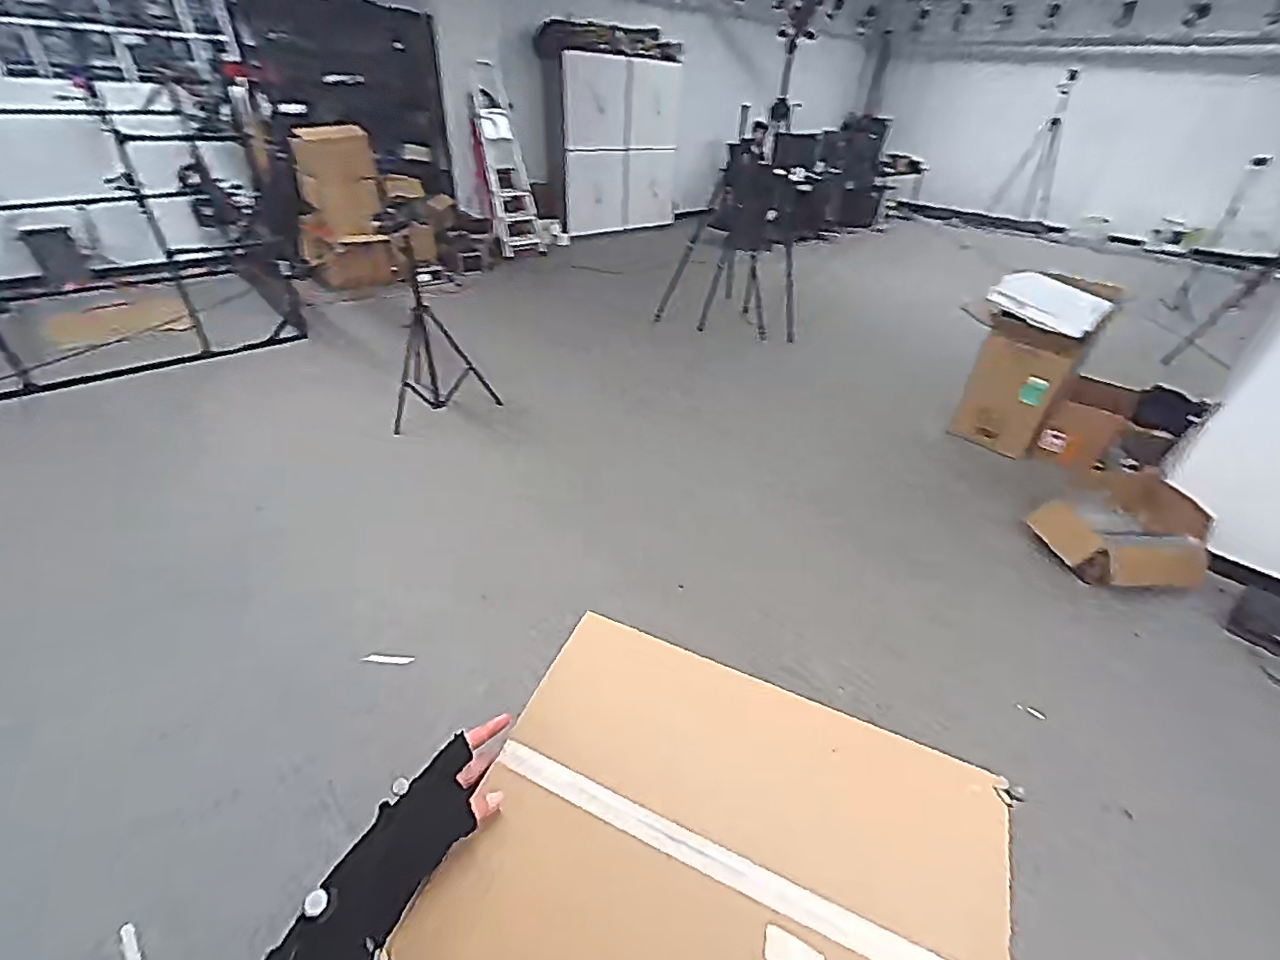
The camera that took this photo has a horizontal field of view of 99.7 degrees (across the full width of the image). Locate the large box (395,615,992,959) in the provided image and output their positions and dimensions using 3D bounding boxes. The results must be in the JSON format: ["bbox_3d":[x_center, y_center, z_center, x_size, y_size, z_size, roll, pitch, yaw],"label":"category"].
[{"bbox_3d":[0.060,0.401,0.534,0.408,0.320,0.320,17,48,17],"label":"large box"}]
